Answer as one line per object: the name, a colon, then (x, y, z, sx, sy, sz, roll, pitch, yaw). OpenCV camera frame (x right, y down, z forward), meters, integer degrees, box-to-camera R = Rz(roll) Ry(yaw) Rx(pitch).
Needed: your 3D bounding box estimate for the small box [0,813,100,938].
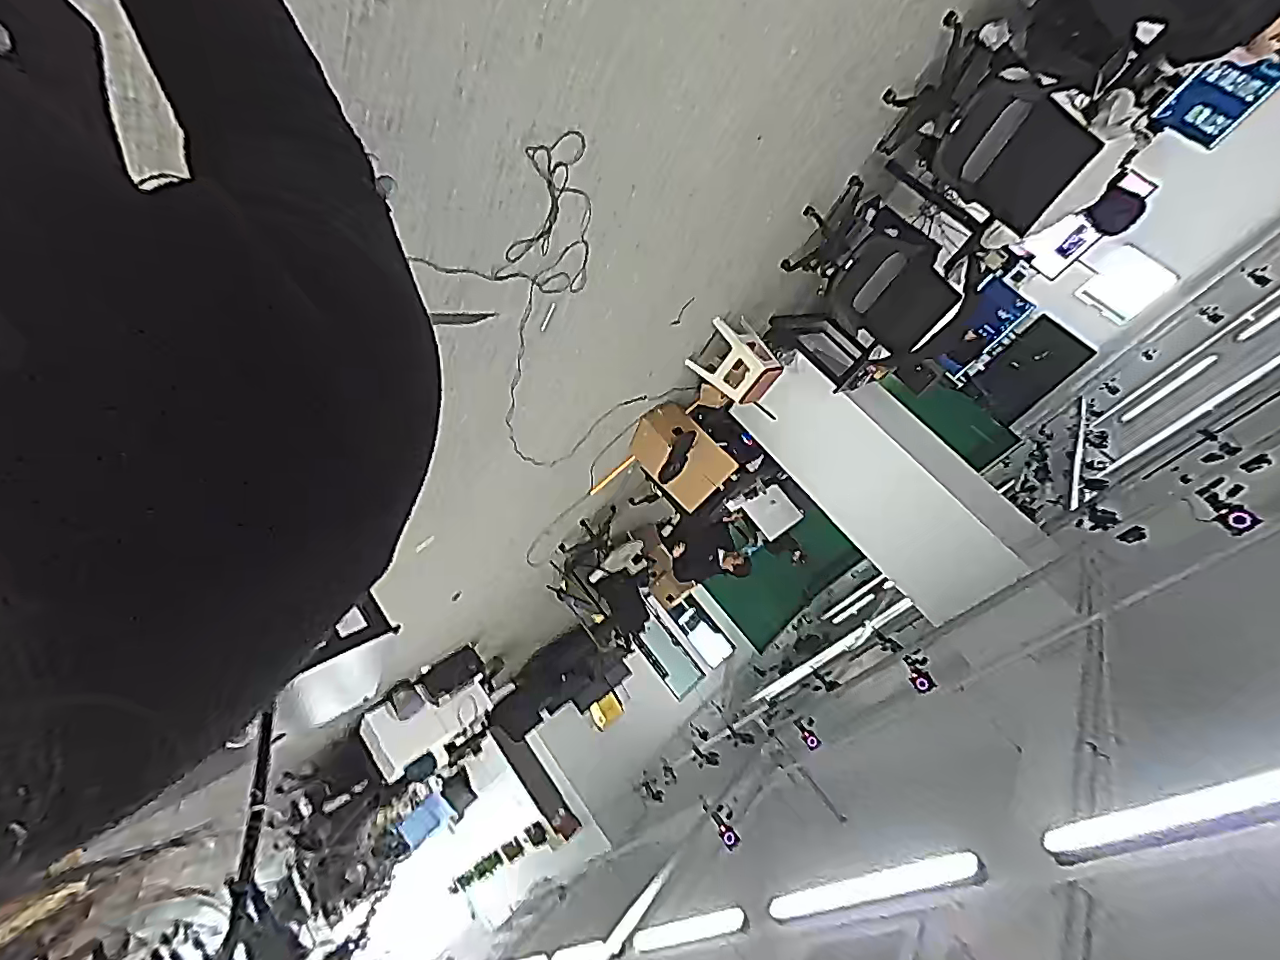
small box: (-1.491, 0.970, 1.338, 0.179, 0.176, 0.168, -20, 154, -49)
